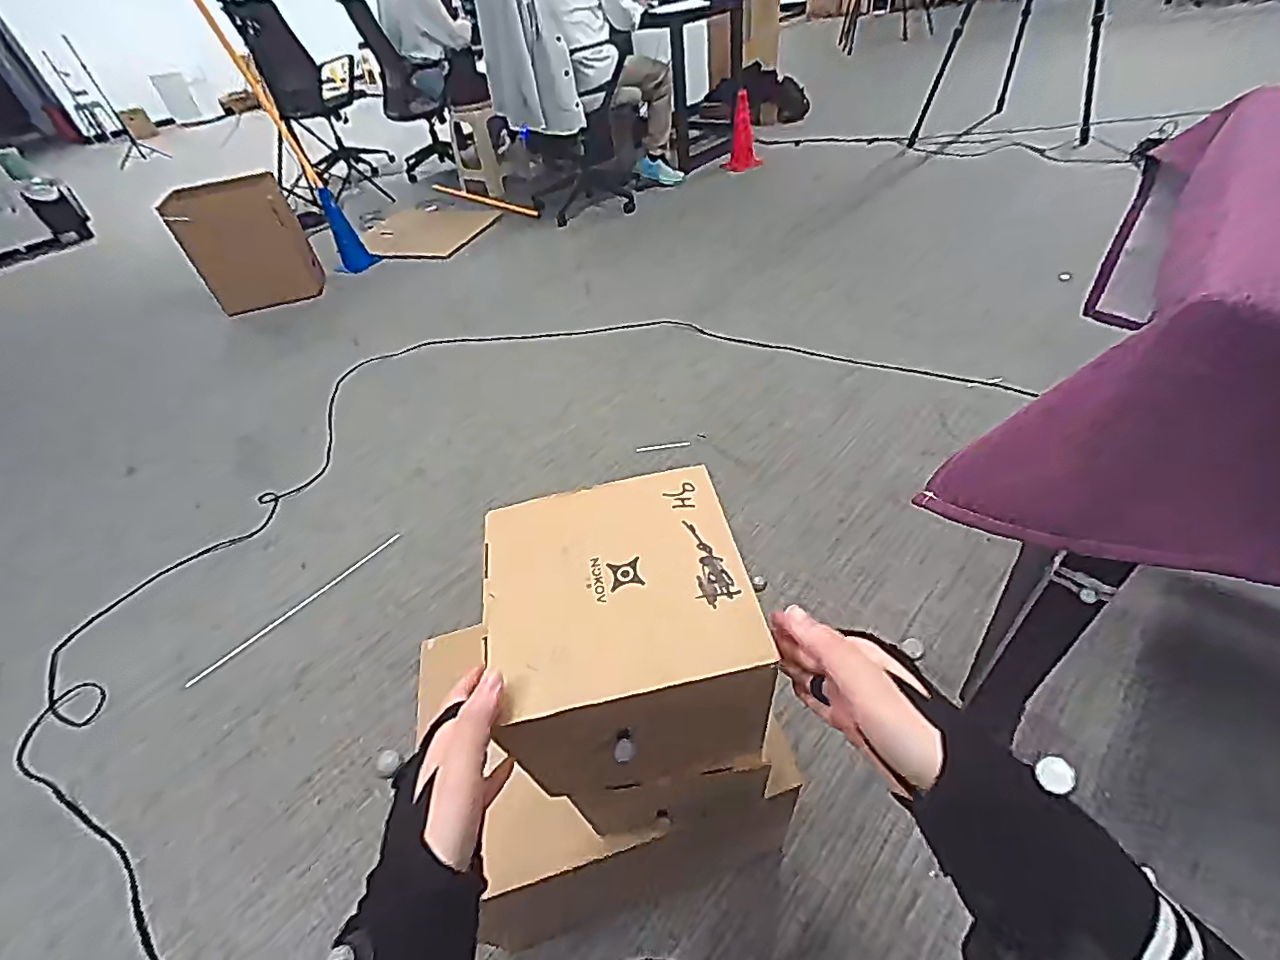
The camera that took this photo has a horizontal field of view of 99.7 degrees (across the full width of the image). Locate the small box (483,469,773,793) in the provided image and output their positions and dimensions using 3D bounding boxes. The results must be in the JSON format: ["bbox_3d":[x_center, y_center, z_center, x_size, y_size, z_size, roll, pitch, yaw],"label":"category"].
[{"bbox_3d":[-0.008,0.122,0.421,0.179,0.176,0.168,-13,49,-2],"label":"small box"}]
